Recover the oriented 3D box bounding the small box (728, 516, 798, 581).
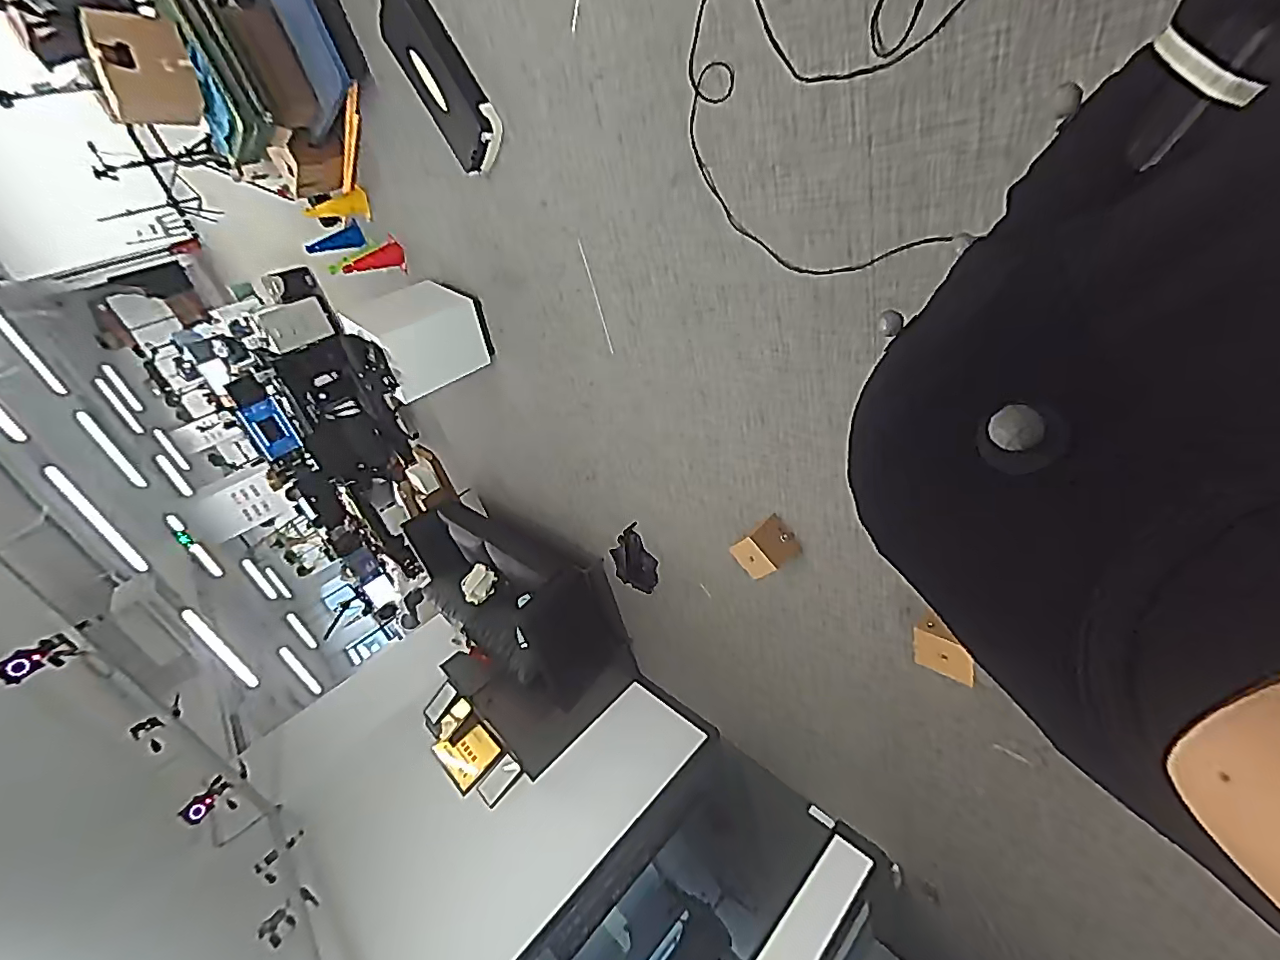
[{"bbox_3d":[0.494,0.275,2.162,0.168,0.176,0.179,50,150,6],"label":"small box"}]

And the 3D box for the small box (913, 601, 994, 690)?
[{"bbox_3d":[0.983,0.509,1.693,0.179,0.176,0.168,18,135,48],"label":"small box"}]
